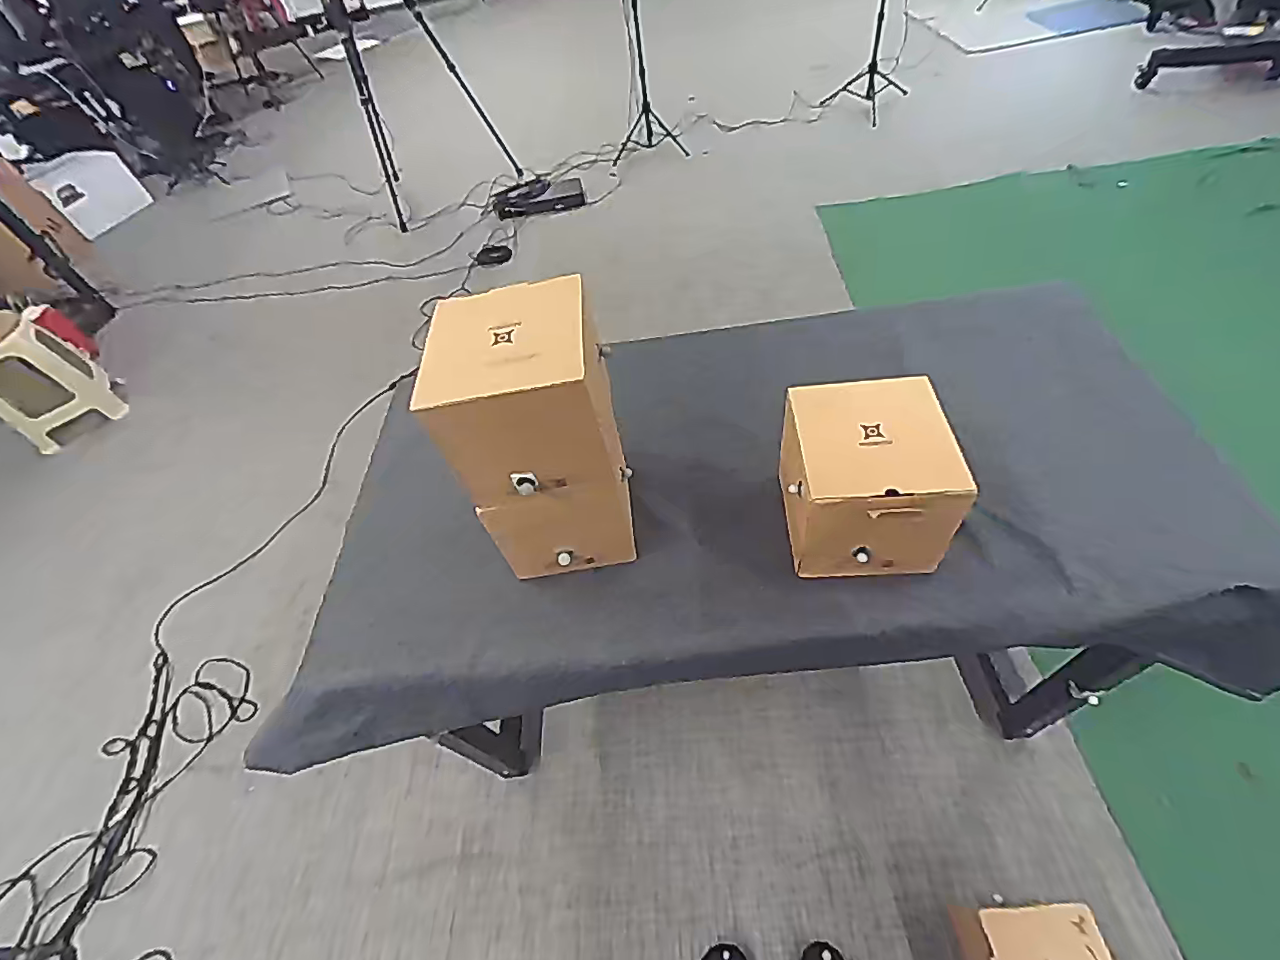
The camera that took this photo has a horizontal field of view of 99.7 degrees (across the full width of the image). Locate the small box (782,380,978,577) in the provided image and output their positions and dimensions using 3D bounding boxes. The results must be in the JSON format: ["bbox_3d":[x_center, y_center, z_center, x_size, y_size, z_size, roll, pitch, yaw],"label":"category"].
[{"bbox_3d":[0.274,0.001,0.669,0.168,0.176,0.179,-4,51,7],"label":"small box"}]

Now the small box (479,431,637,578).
[{"bbox_3d":[-0.101,0.008,0.728,0.168,0.176,0.179,-10,51,3],"label":"small box"}]

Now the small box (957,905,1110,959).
[{"bbox_3d":[0.653,0.813,0.891,0.179,0.176,0.168,-8,50,4],"label":"small box"}]

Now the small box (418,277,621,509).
[{"bbox_3d":[-0.119,-0.093,0.603,0.168,0.176,0.179,-10,52,4],"label":"small box"}]
